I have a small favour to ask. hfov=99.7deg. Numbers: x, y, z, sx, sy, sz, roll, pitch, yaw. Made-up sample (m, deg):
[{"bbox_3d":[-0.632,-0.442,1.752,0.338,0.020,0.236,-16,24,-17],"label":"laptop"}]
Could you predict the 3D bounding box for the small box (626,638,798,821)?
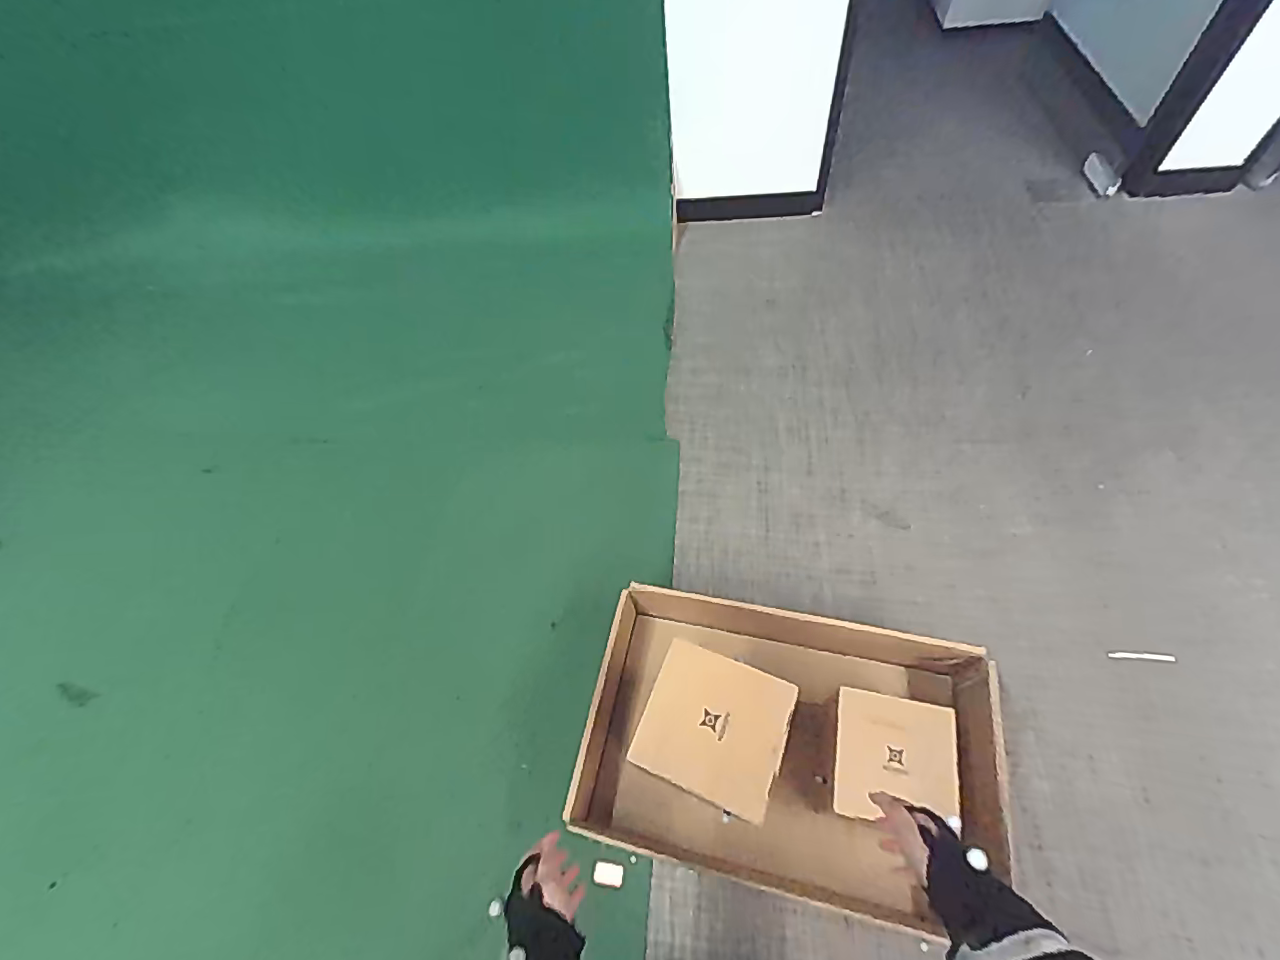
[{"bbox_3d":[0.099,0.345,0.743,0.179,0.176,0.168,18,62,16],"label":"small box"}]
